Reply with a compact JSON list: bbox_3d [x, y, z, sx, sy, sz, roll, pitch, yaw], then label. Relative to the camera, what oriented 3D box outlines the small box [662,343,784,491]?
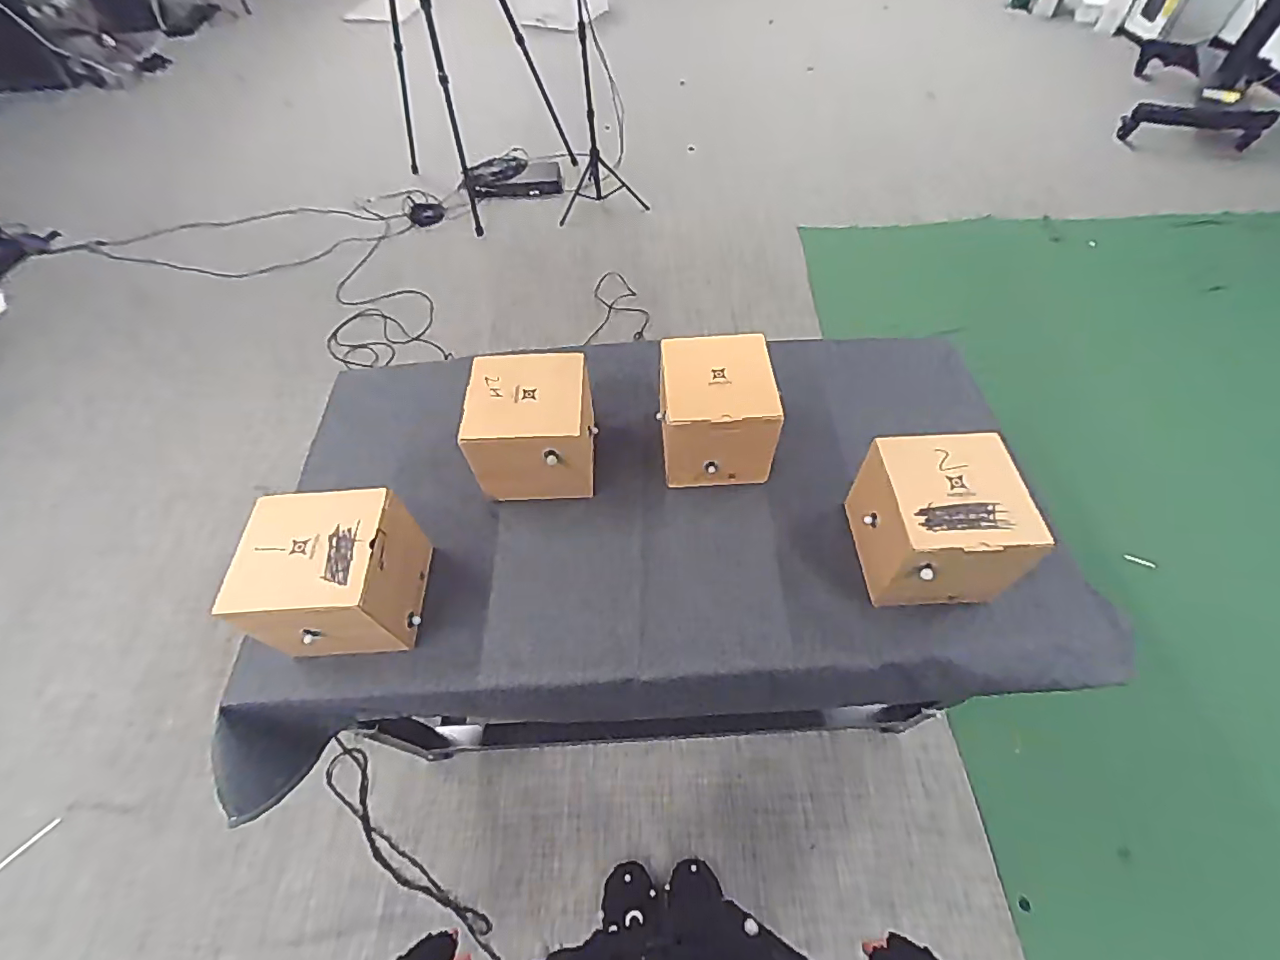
[{"bbox_3d":[0.123,-0.100,0.879,0.168,0.176,0.179,-3,56,0],"label":"small box"}]

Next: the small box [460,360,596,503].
[{"bbox_3d":[-0.165,-0.073,0.867,0.179,0.176,0.168,-2,56,1],"label":"small box"}]

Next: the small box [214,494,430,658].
[{"bbox_3d":[-0.407,0.134,0.734,0.179,0.176,0.168,-3,55,0],"label":"small box"}]
